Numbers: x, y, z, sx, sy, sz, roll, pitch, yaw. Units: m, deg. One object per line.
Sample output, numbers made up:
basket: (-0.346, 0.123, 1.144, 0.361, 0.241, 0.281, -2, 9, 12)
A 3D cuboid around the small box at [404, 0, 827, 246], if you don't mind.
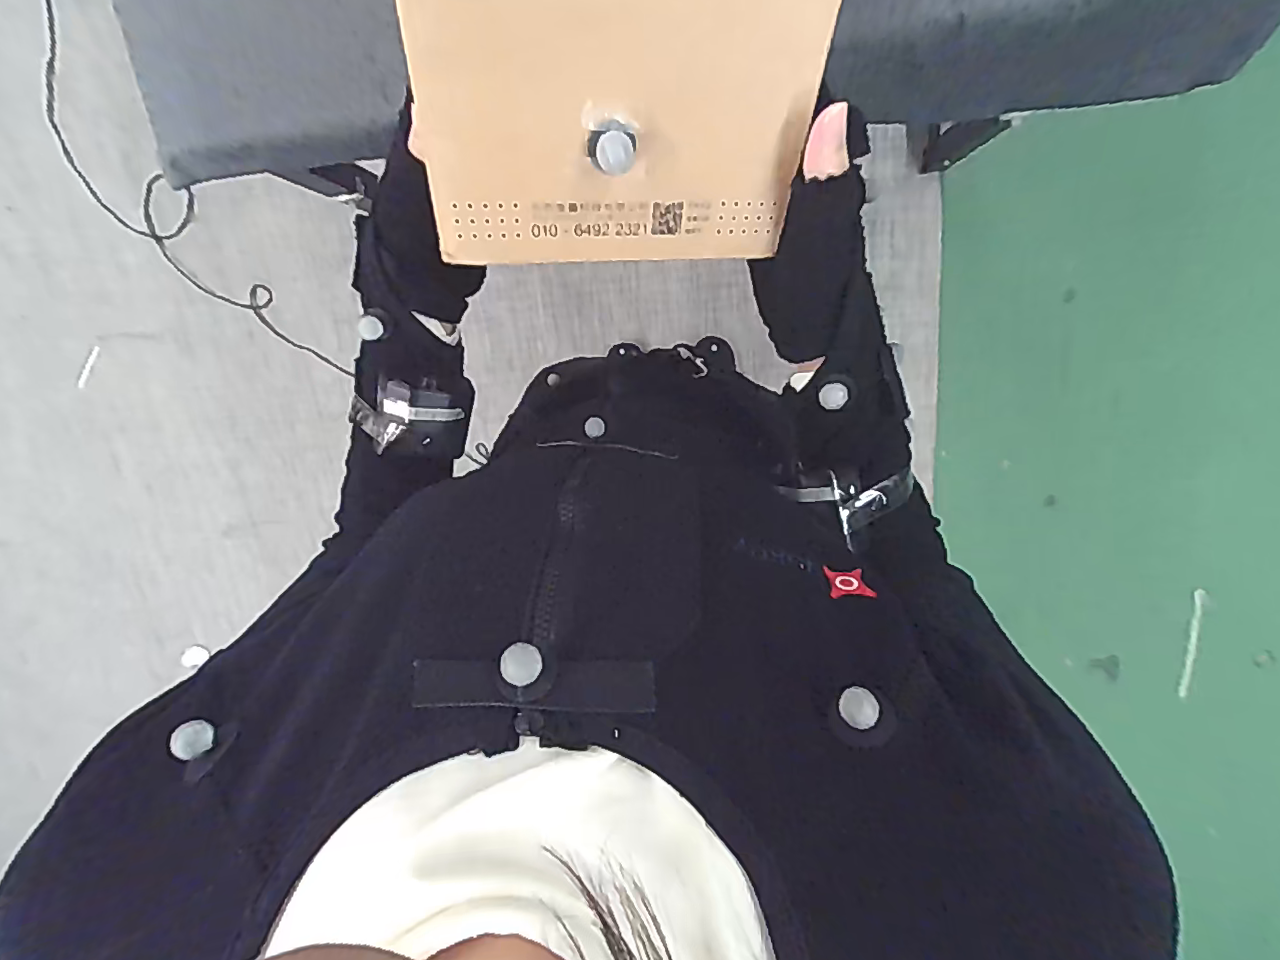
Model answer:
small box: (-0.022, -0.234, 0.264, 0.168, 0.179, 0.176, -6, 139, -11)
